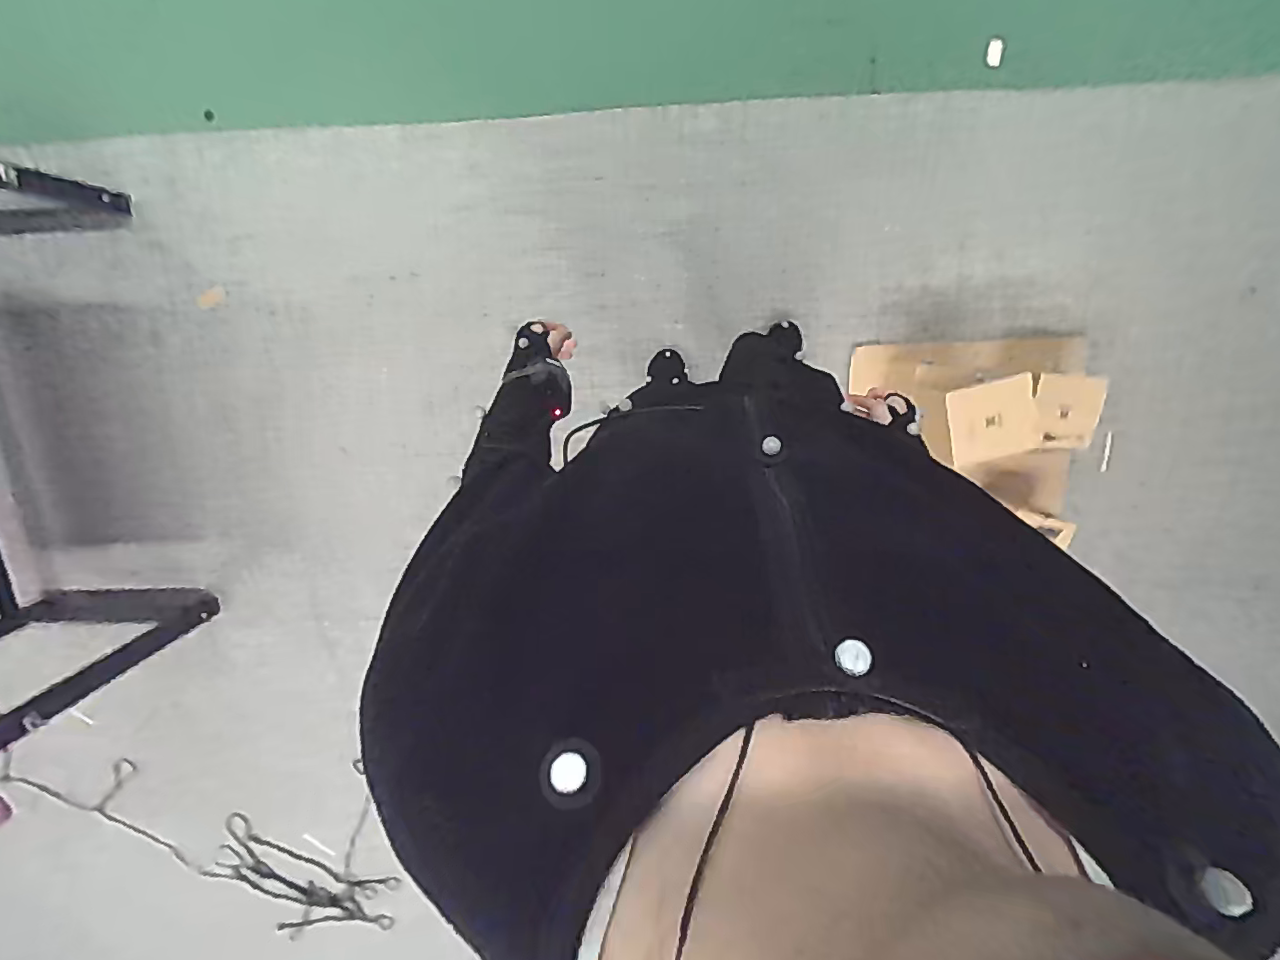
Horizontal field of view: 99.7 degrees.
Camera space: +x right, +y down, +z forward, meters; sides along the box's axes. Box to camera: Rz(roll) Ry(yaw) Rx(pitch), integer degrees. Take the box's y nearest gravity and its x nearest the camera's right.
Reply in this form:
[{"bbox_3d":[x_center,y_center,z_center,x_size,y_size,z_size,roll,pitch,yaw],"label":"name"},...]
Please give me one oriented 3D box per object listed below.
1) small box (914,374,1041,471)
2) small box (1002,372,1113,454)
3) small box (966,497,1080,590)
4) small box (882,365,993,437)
[{"bbox_3d":[0.738,-0.134,1.194,0.179,0.176,0.168,-13,103,5],"label":"small box"},{"bbox_3d":[1.007,-0.173,1.346,0.168,0.176,0.179,5,105,0],"label":"small box"},{"bbox_3d":[0.992,0.159,1.429,0.168,0.176,0.179,14,106,-2],"label":"small box"},{"bbox_3d":[0.731,-0.195,1.347,0.179,0.176,0.168,3,105,0],"label":"small box"}]
